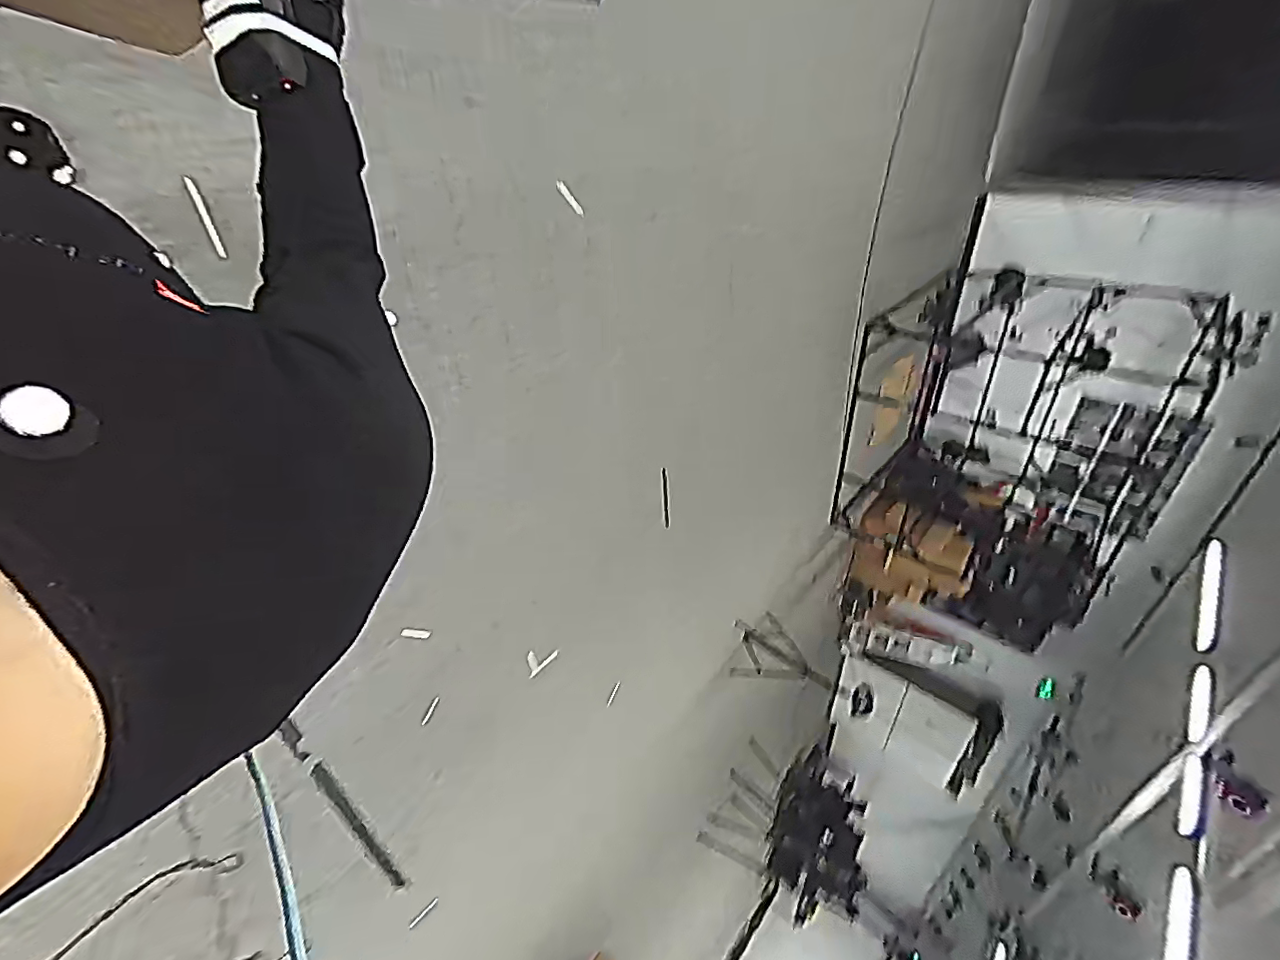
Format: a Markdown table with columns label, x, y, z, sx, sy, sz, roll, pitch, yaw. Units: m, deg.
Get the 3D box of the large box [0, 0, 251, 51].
| label | x | y | z | sx | sy | sz | roll | pitch | yaw |
| --- | --- | --- | --- | --- | --- | --- | --- | --- | --- |
| large box | -0.508 | -0.508 | 0.297 | 0.408 | 0.320 | 0.320 | -14 | 122 | -45 |
